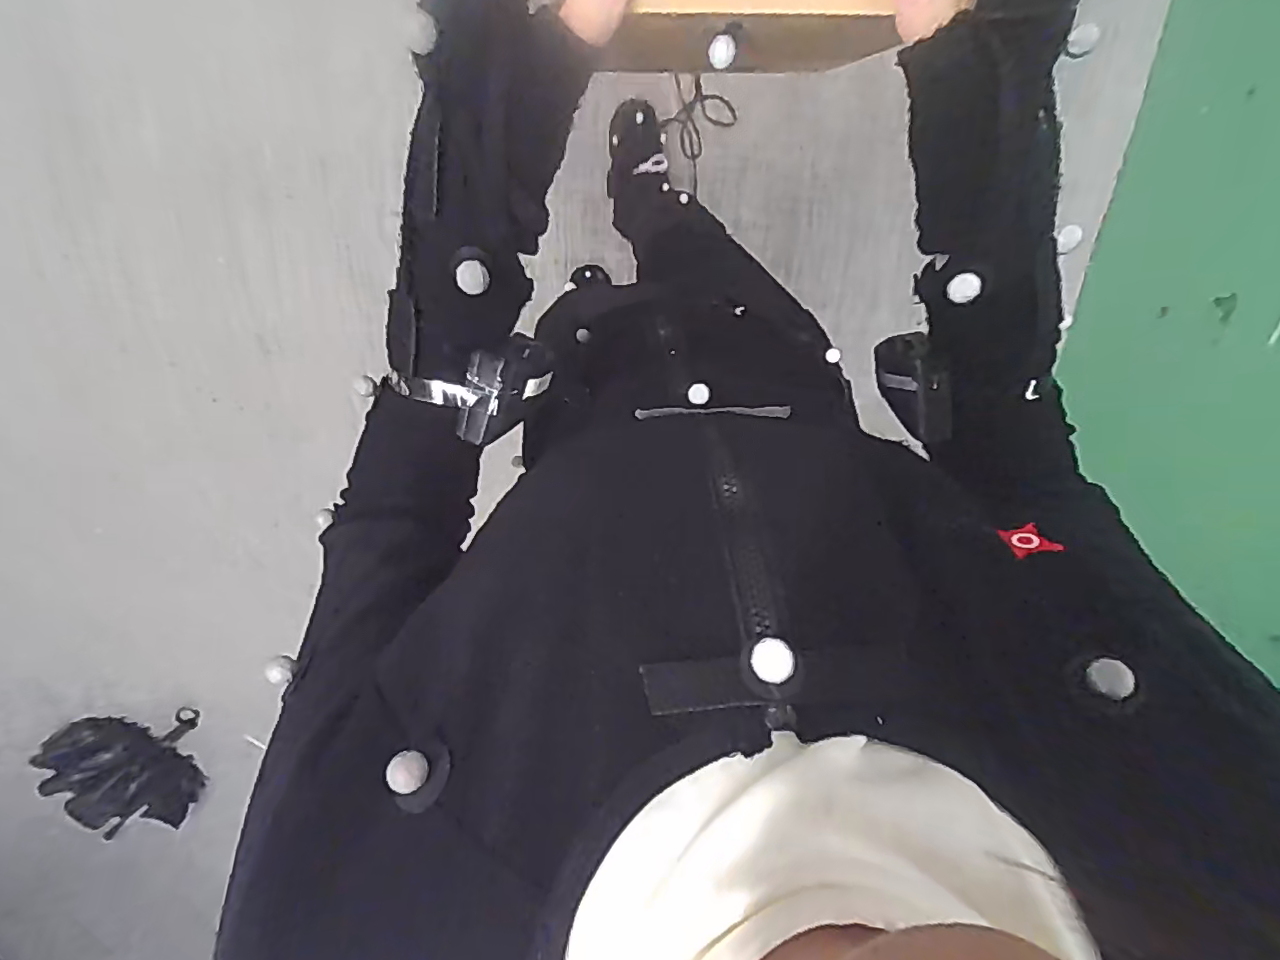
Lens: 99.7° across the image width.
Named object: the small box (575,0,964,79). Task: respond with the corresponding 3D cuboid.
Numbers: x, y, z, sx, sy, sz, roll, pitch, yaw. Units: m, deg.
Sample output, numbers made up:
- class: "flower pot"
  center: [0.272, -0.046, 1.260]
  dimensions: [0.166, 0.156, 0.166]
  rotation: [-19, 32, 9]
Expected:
- class: "small box"
  center: [0.049, -0.308, 0.247]
  dimensions: [0.168, 0.176, 0.179]
  rotation: [-1, 120, -3]
